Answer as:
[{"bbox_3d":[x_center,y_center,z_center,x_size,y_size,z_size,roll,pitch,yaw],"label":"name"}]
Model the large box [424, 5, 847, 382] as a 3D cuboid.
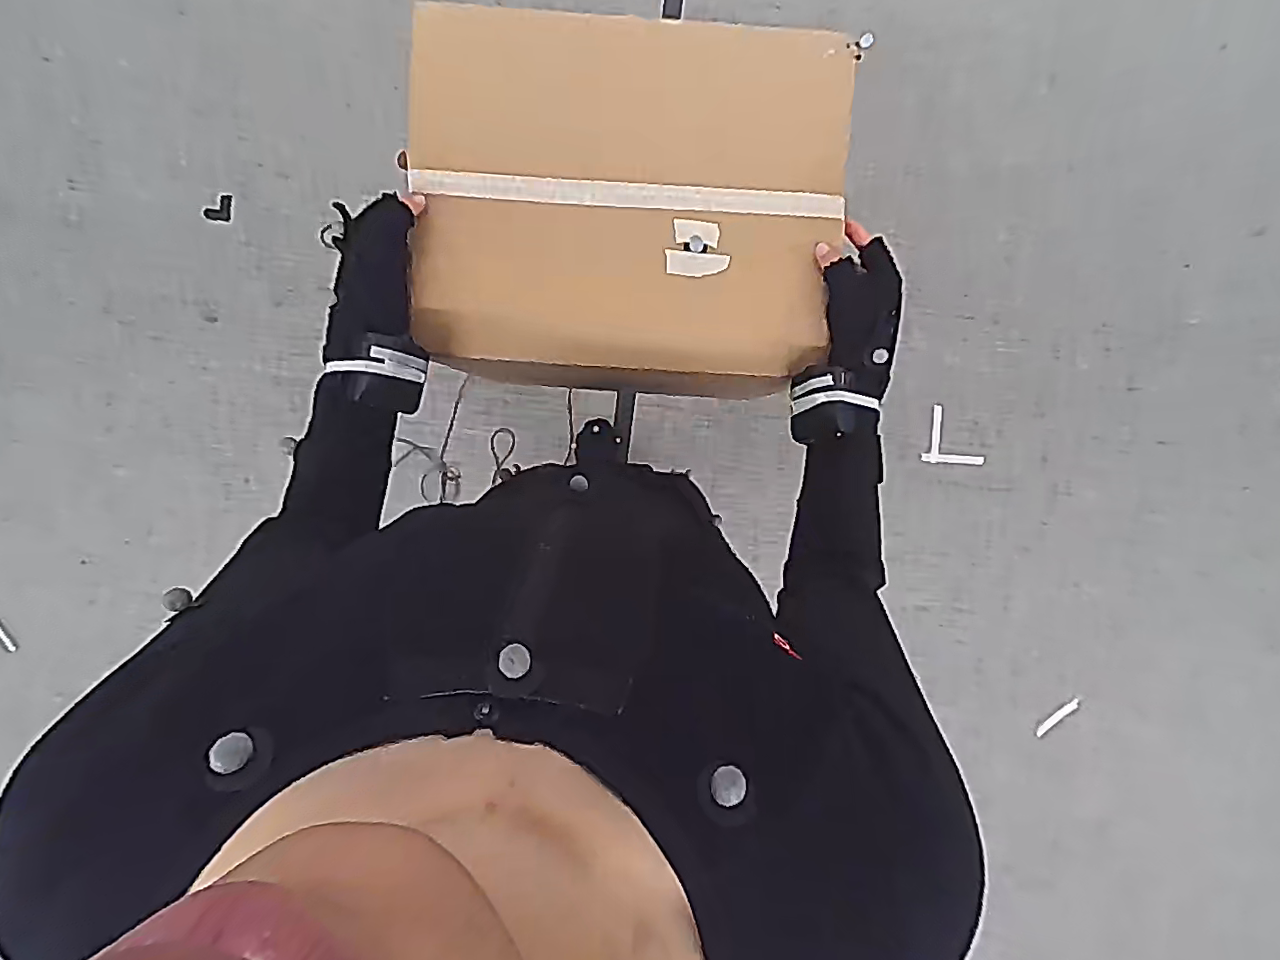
[{"bbox_3d":[-0.013,-0.295,0.668,0.408,0.320,0.320,3,97,-2],"label":"large box"}]
